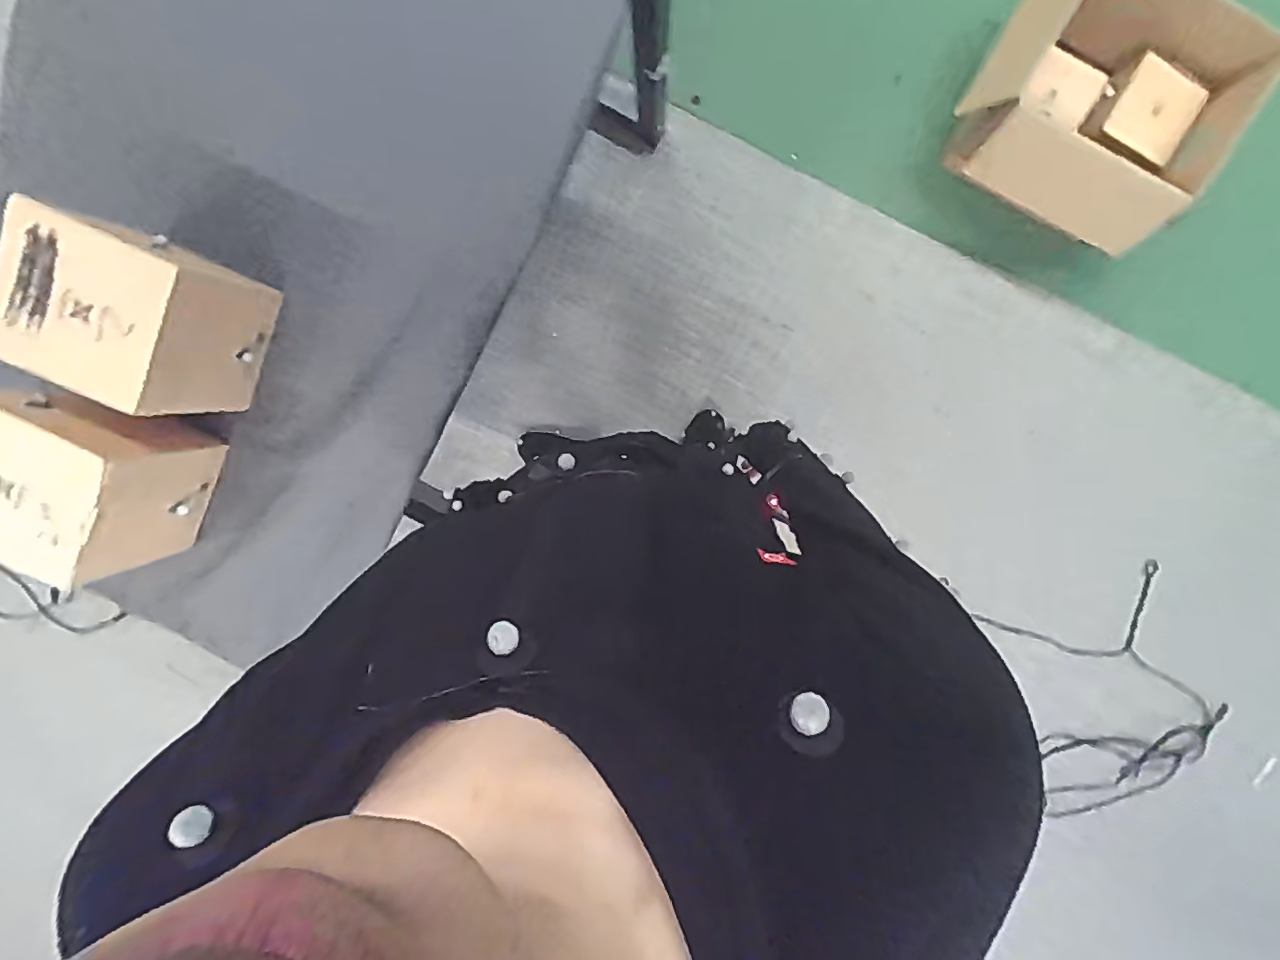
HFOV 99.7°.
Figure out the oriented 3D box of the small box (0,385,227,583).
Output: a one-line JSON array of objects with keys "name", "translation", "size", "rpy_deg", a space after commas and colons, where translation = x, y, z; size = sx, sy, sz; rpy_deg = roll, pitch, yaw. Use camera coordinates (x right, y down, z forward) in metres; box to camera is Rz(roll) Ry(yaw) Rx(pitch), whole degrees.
[{"name": "small box", "translation": [-0.671, -0.004, 0.663], "size": [0.179, 0.176, 0.168], "rpy_deg": [26, 99, -3]}]
